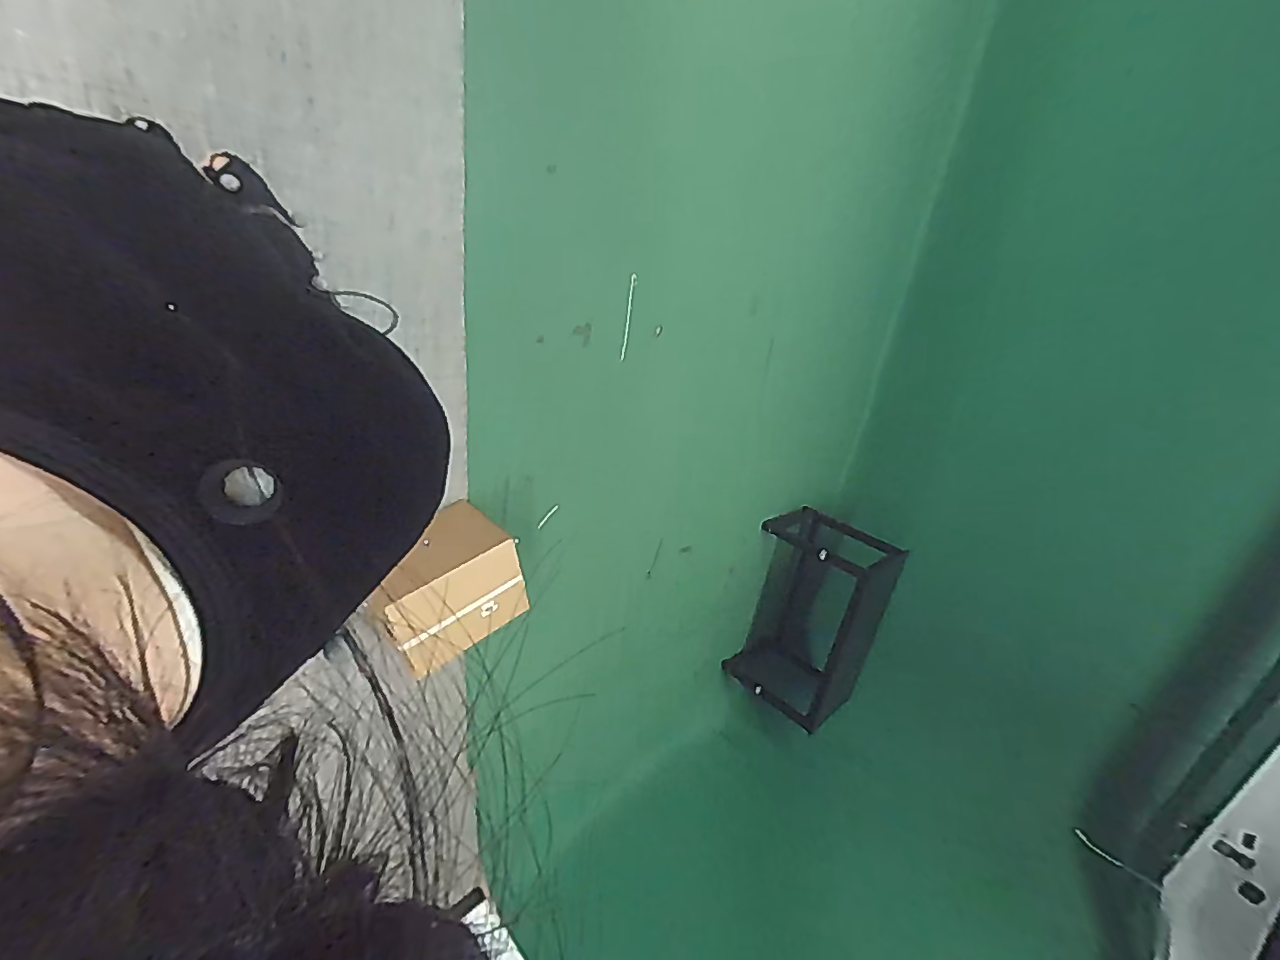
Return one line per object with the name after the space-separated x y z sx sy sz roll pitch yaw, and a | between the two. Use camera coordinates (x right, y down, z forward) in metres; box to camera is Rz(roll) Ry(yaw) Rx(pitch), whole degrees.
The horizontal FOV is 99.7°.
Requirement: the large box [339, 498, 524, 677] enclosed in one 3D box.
-0.639 0.317 1.696 0.408 0.320 0.320 -31 134 -35 | large box
